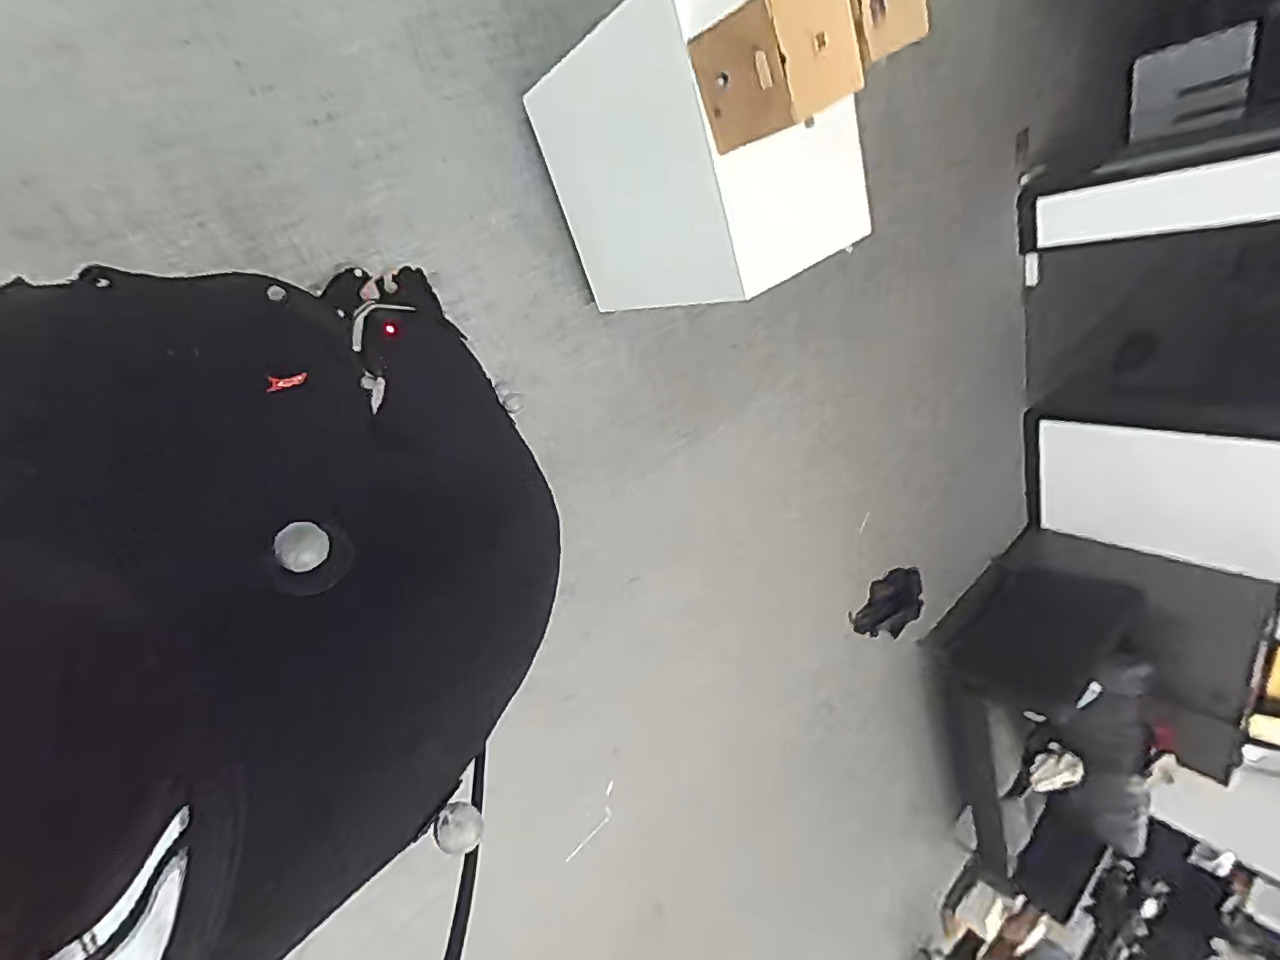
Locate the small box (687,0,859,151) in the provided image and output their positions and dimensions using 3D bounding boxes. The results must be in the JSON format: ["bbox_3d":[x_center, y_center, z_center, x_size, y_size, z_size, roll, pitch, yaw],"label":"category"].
[{"bbox_3d":[0.205,-0.646,0.839,0.179,0.176,0.168,-39,122,-21],"label":"small box"}]
